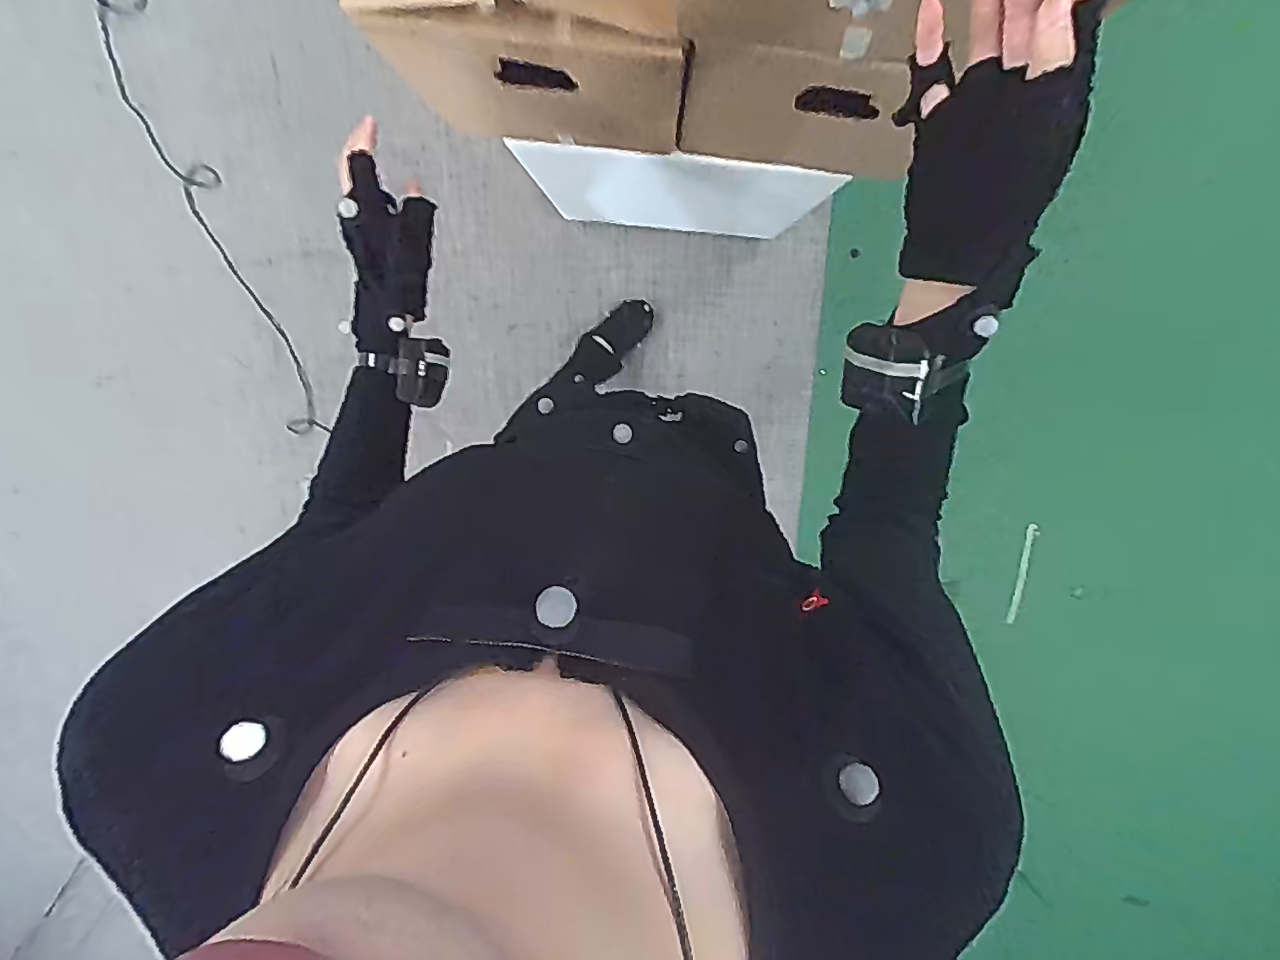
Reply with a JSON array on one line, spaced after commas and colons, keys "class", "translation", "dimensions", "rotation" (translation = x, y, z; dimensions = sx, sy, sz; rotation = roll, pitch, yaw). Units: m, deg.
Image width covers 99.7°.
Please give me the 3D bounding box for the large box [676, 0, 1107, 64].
[{"class": "large box", "translation": [0.188, -0.519, 0.274], "dimensions": [0.320, 0.320, 0.408], "rotation": [7, 104, 1]}]
